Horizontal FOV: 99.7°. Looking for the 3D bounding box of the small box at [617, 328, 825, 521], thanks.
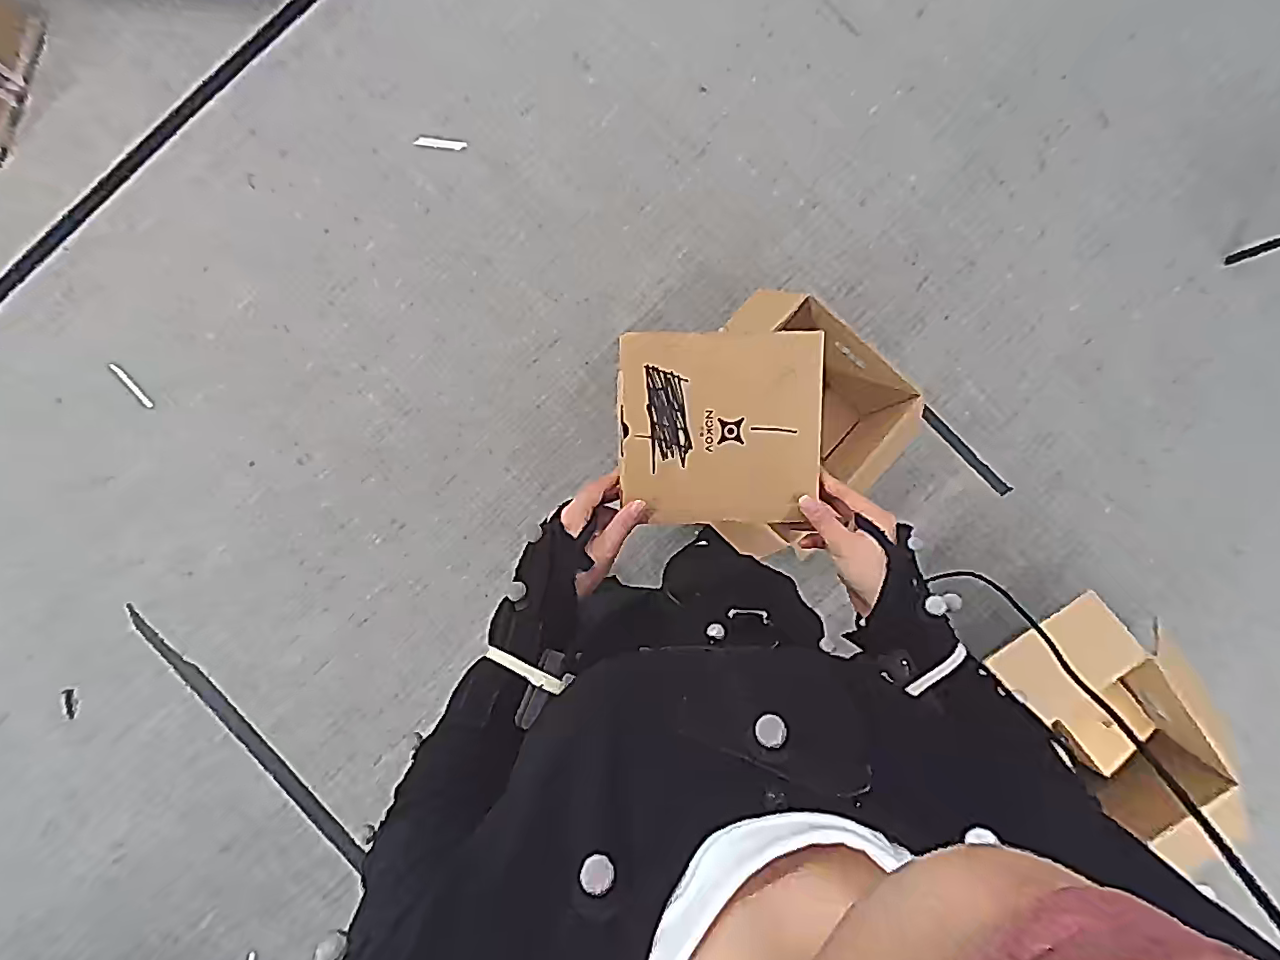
[{"bbox_3d":[0.072,-0.055,0.541,0.179,0.176,0.168,0,97,3],"label":"small box"}]
